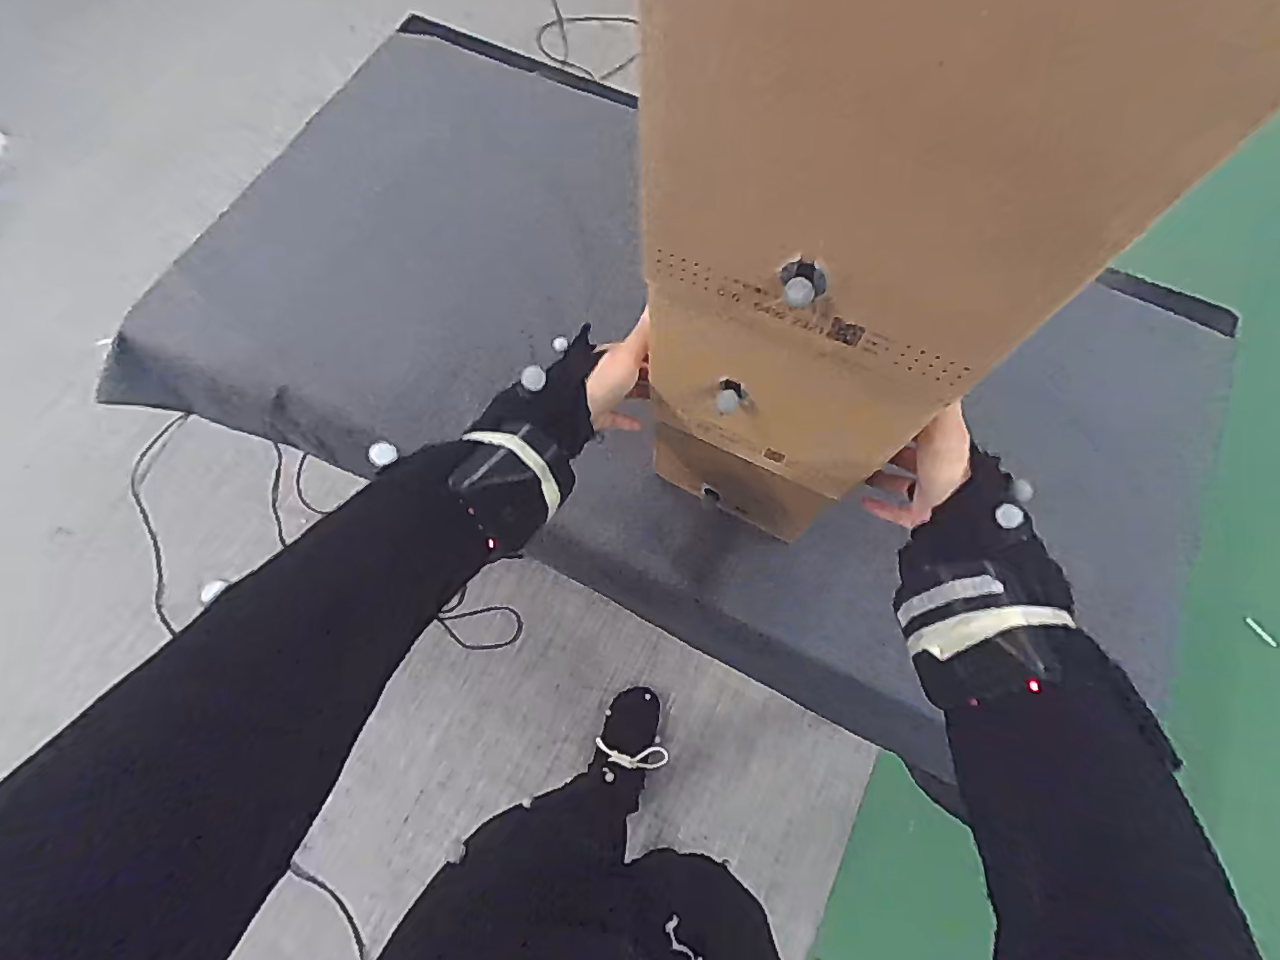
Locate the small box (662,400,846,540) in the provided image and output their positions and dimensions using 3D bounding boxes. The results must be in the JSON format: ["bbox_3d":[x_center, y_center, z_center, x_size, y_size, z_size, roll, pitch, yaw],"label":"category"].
[{"bbox_3d":[0.128,-0.065,0.530,0.168,0.176,0.179,27,74,10],"label":"small box"}]

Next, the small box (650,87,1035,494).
[{"bbox_3d":[0.119,-0.114,0.375,0.168,0.176,0.179,26,72,10],"label":"small box"}]
